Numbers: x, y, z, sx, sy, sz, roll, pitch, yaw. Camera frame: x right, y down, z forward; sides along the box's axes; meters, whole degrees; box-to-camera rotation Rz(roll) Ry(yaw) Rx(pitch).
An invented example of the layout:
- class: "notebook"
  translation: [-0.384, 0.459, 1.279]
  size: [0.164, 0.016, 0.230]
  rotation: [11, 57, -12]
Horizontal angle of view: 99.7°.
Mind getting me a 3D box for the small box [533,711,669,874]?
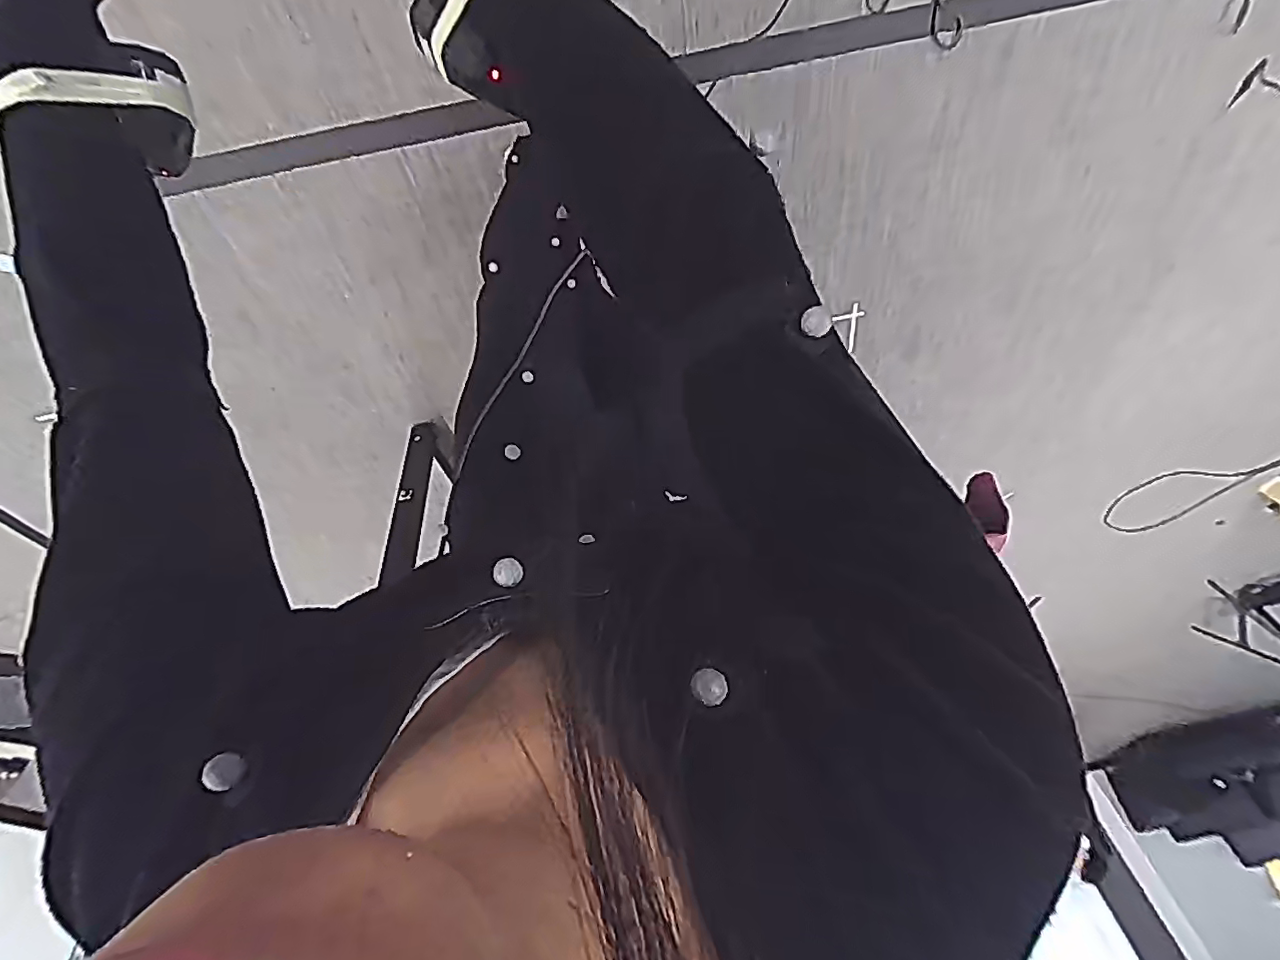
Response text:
- class: "small box"
  translation: [-0.061, 0.470, 0.825]
  size: [0.168, 0.176, 0.179]
  rotation: [-14, 137, 0]
